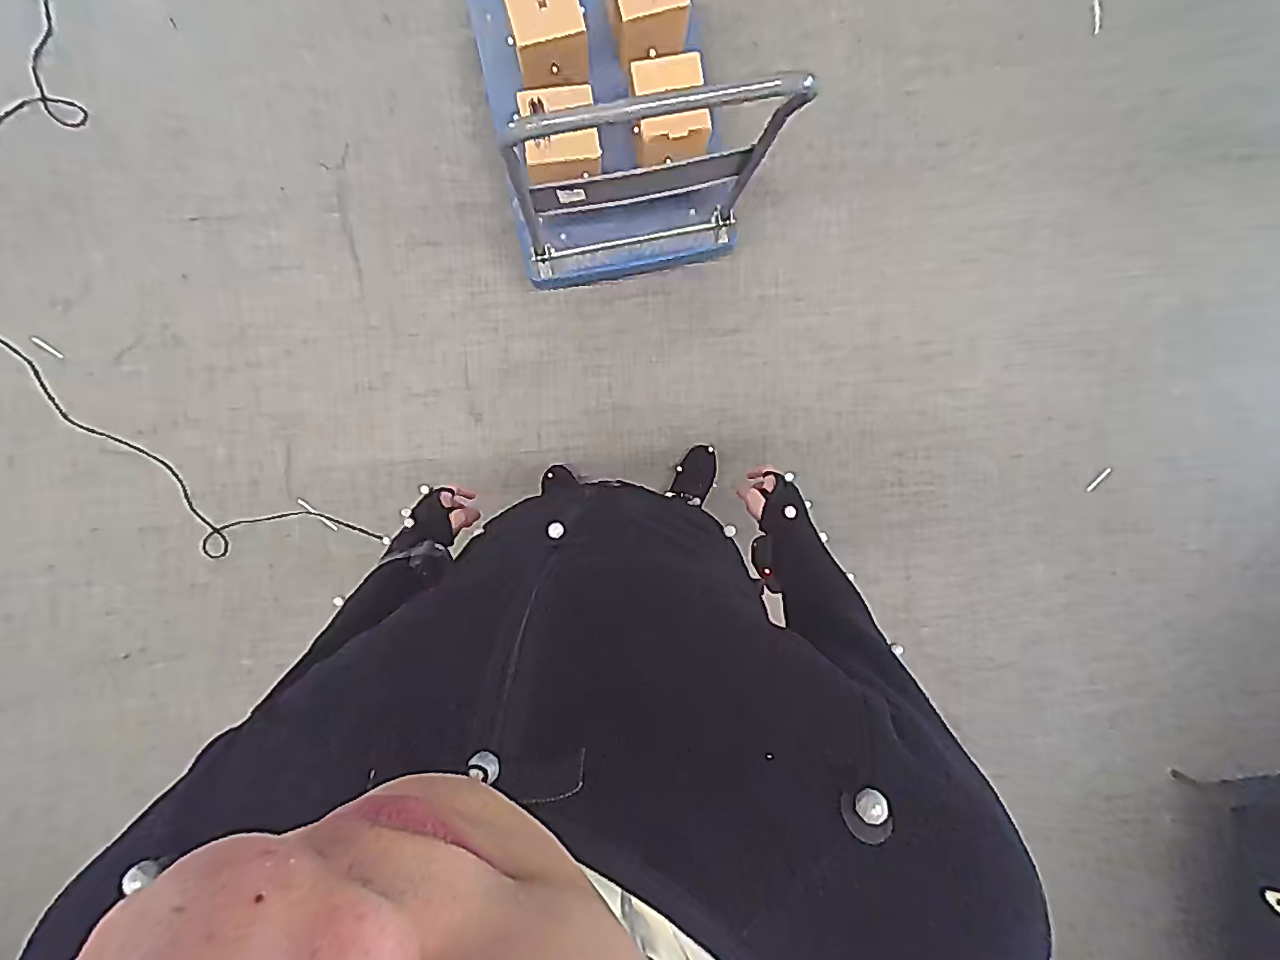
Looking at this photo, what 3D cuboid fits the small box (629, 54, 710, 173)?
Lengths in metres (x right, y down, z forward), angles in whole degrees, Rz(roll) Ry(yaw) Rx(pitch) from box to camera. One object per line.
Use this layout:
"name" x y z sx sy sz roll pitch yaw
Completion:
"small box" 0.068 -0.910 1.353 0.168 0.176 0.179 -11 94 -2

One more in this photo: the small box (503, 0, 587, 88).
"small box" -0.231 -1.104 1.326 0.168 0.176 0.179 -16 94 -3

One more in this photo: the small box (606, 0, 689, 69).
"small box" 0.011 -1.174 1.334 0.168 0.176 0.179 -15 95 -1
